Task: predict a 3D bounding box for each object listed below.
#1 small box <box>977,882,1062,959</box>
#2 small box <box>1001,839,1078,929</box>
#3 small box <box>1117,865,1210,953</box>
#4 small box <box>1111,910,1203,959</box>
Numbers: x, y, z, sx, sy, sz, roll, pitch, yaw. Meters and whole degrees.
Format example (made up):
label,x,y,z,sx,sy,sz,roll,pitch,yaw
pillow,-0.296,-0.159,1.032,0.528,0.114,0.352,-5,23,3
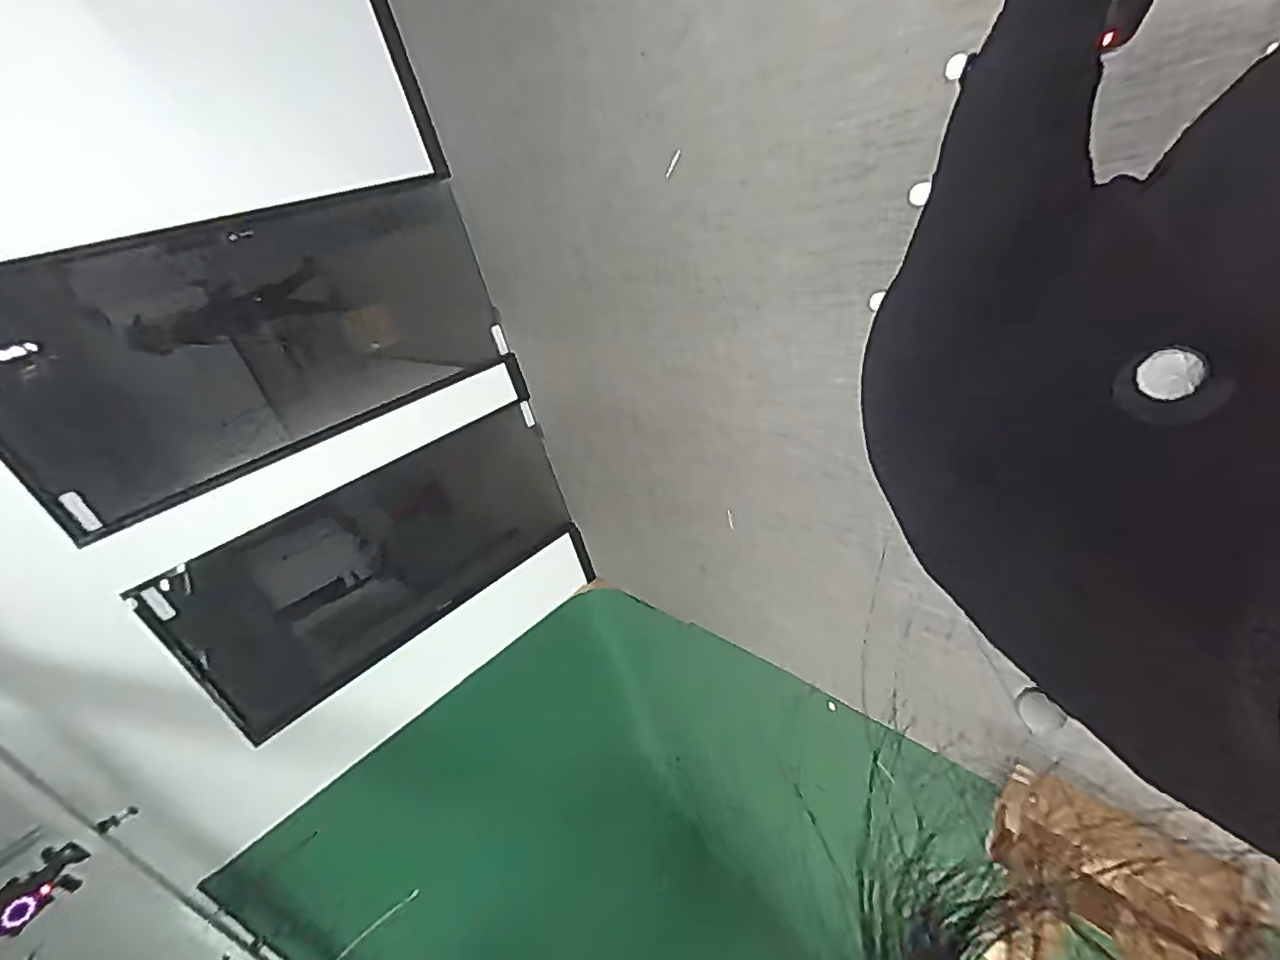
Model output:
label,x,y,z,sx,sy,sz,roll,pitch,yaw
small box,1.150,1.385,1.639,0.168,0.176,0.179,17,132,45
small box,1.267,1.309,1.727,0.168,0.176,0.179,20,131,43
small box,1.578,1.328,1.629,0.168,0.176,0.179,16,129,49
small box,1.460,1.393,1.534,0.168,0.176,0.179,13,126,50
